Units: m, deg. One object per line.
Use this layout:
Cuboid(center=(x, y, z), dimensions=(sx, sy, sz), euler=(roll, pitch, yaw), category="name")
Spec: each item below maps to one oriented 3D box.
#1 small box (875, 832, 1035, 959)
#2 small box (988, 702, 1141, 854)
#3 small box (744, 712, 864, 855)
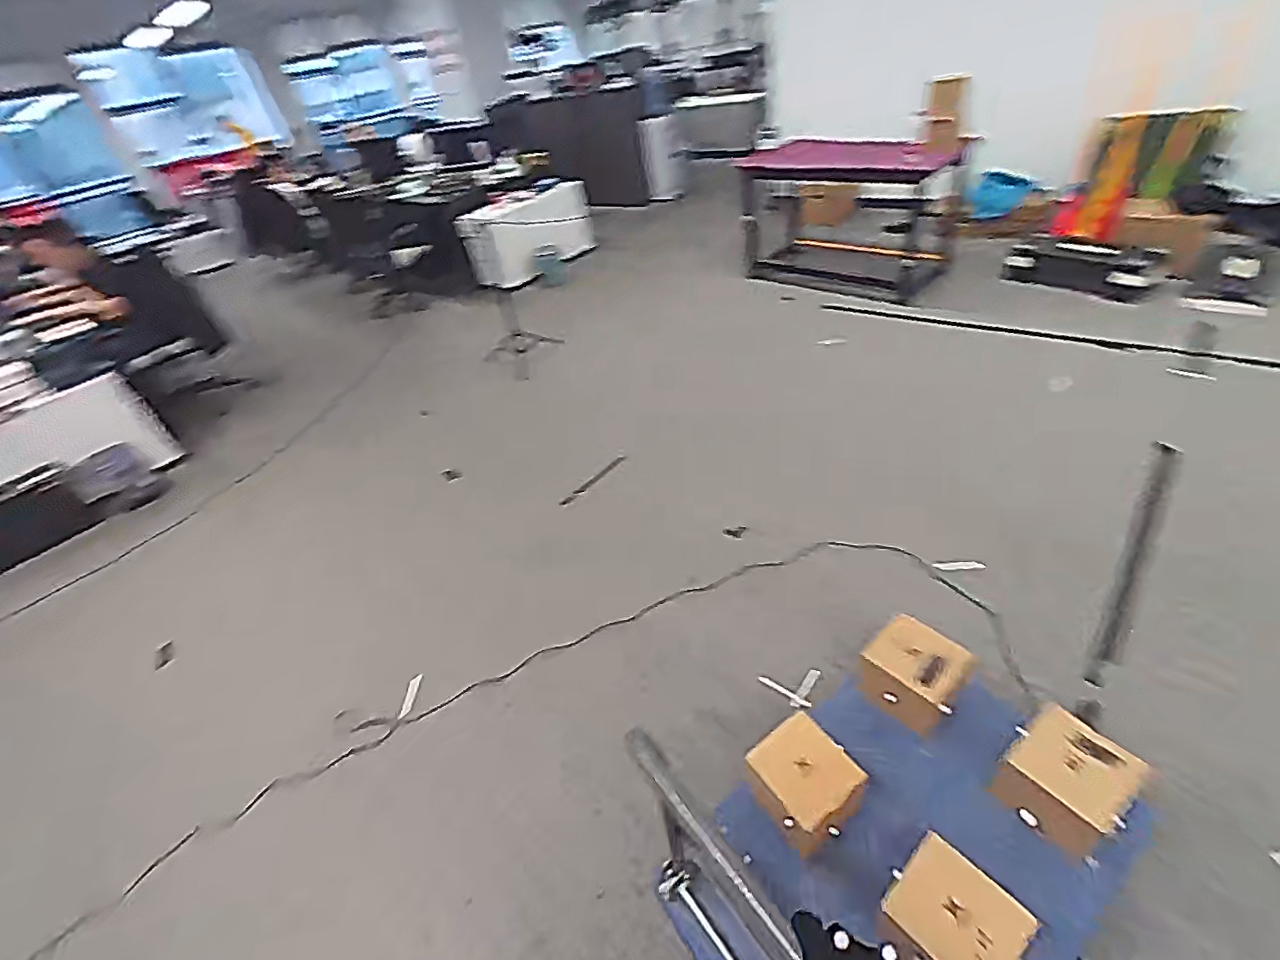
Cuboid(center=(0.532, 0.770, 0.937), dimensions=(0.168, 0.176, 0.179), euler=(-35, 44, -24), category="small box")
Cuboid(center=(0.828, 0.589, 1.072), dimensions=(0.179, 0.176, 0.168), euler=(-33, 43, -21), category="small box")
Cuboid(center=(0.340, 0.641, 1.144), dimensions=(0.168, 0.176, 0.179), euler=(-31, 44, -21), category="small box")
